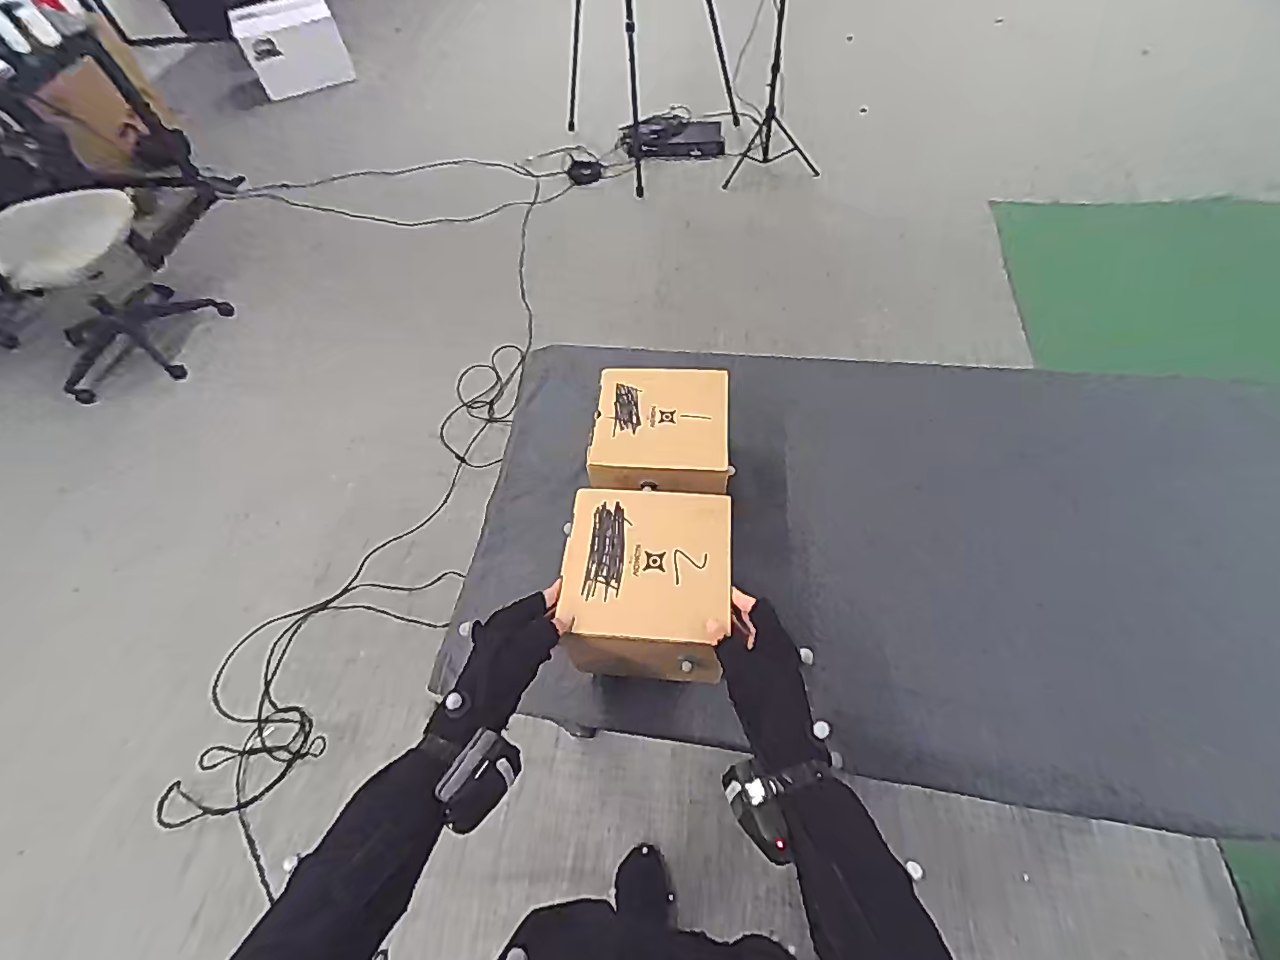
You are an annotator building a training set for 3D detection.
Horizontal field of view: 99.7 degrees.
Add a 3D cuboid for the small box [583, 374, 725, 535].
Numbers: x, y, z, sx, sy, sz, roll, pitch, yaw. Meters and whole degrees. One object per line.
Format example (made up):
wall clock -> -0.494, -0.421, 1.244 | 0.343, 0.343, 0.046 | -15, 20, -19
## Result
small box -> 0.029, -0.032, 0.770 | 0.179, 0.176, 0.168 | 2, 58, 6
